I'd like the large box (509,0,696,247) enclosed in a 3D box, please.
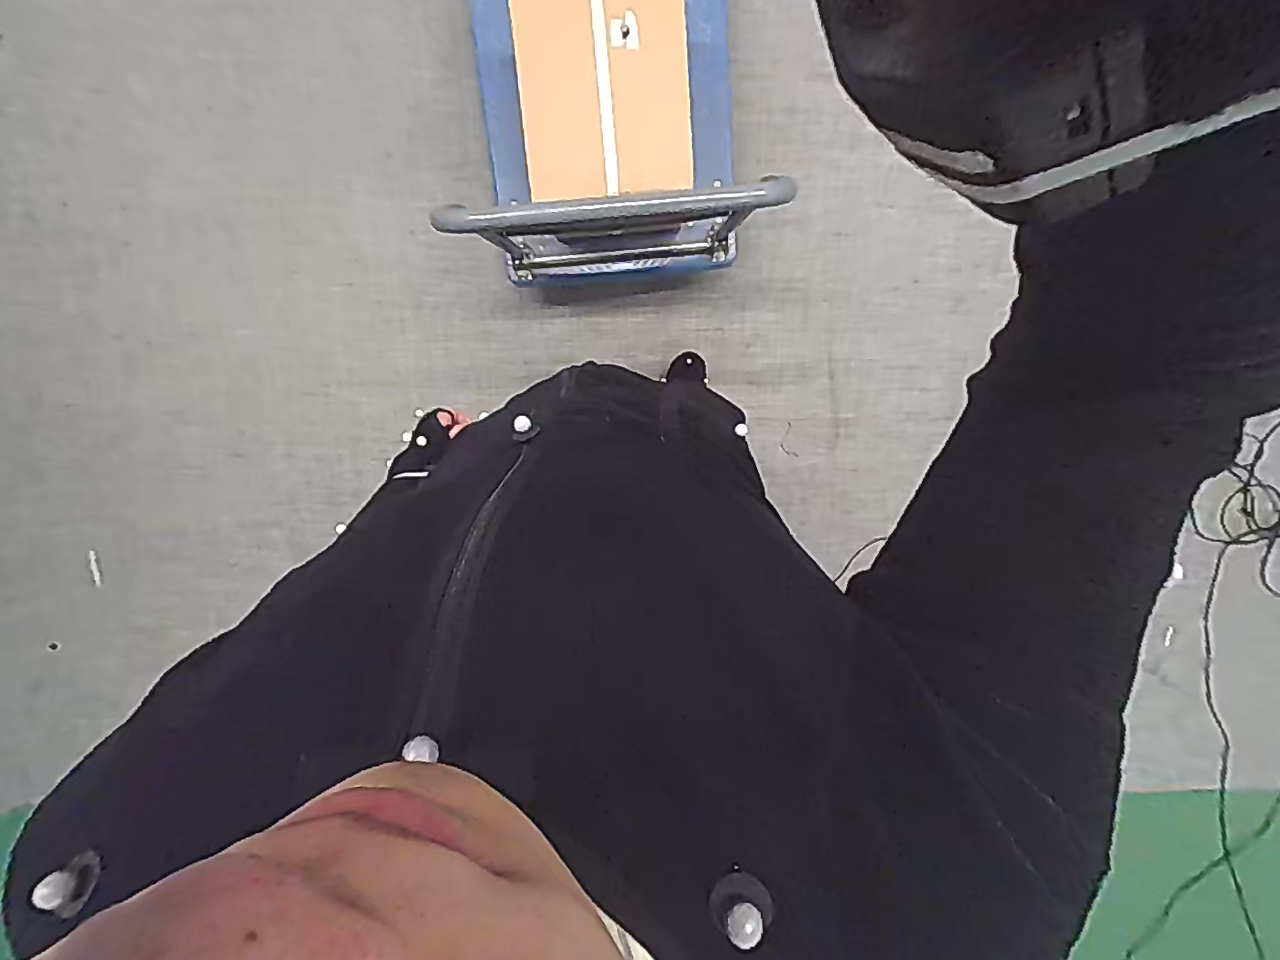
[{"bbox_3d":[-0.063,-0.747,1.136,0.320,0.320,0.408,-5,101,1],"label":"large box"}]
